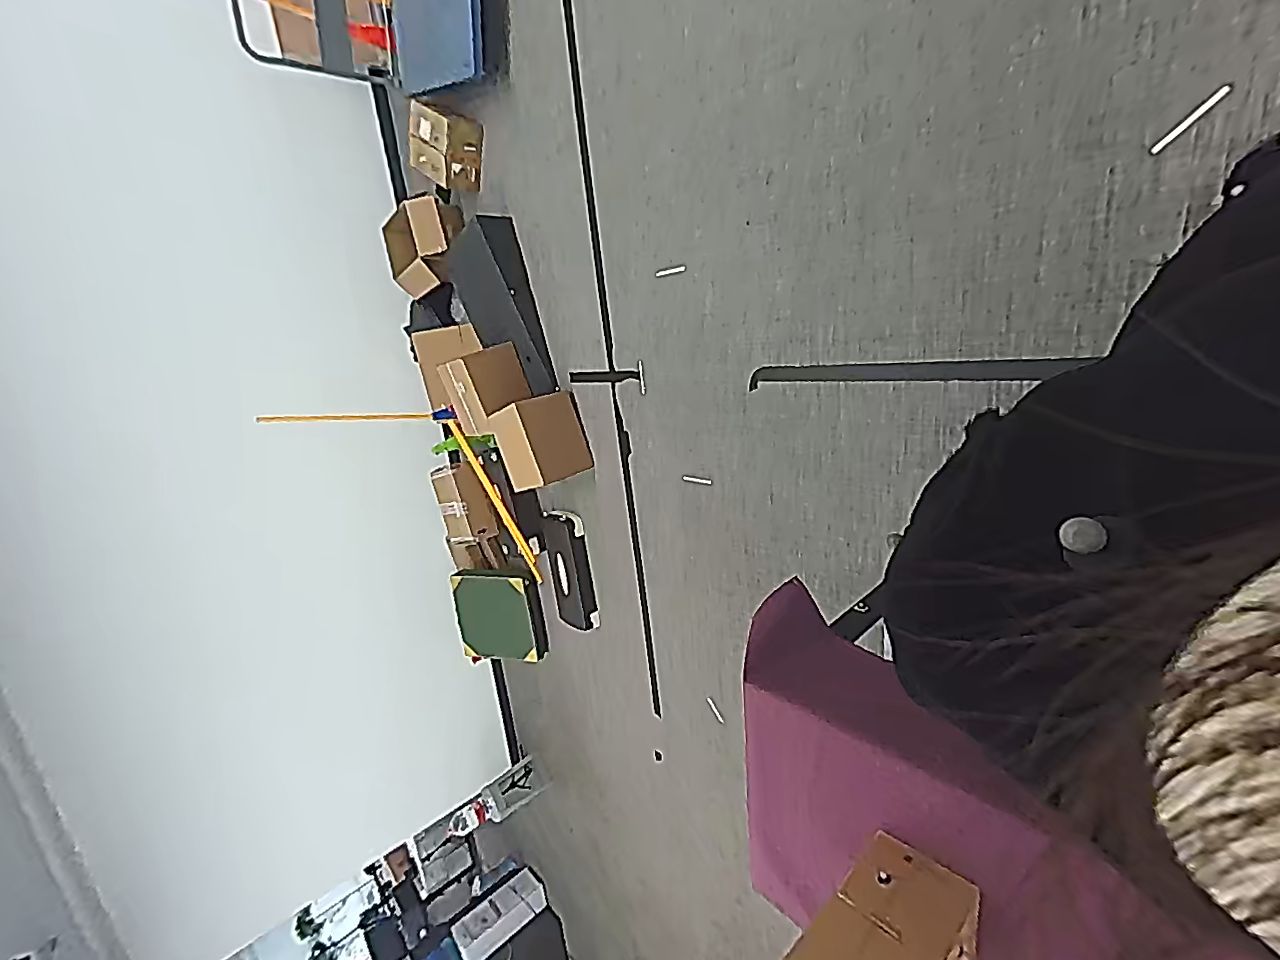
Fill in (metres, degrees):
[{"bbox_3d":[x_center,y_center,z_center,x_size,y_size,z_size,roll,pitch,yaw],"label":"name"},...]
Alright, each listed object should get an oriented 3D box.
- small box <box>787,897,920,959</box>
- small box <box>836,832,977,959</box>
[{"bbox_3d":[0.325,0.790,0.807,0.179,0.176,0.168,10,111,49],"label":"small box"},{"bbox_3d":[0.446,0.751,0.910,0.168,0.176,0.179,11,113,48],"label":"small box"}]
